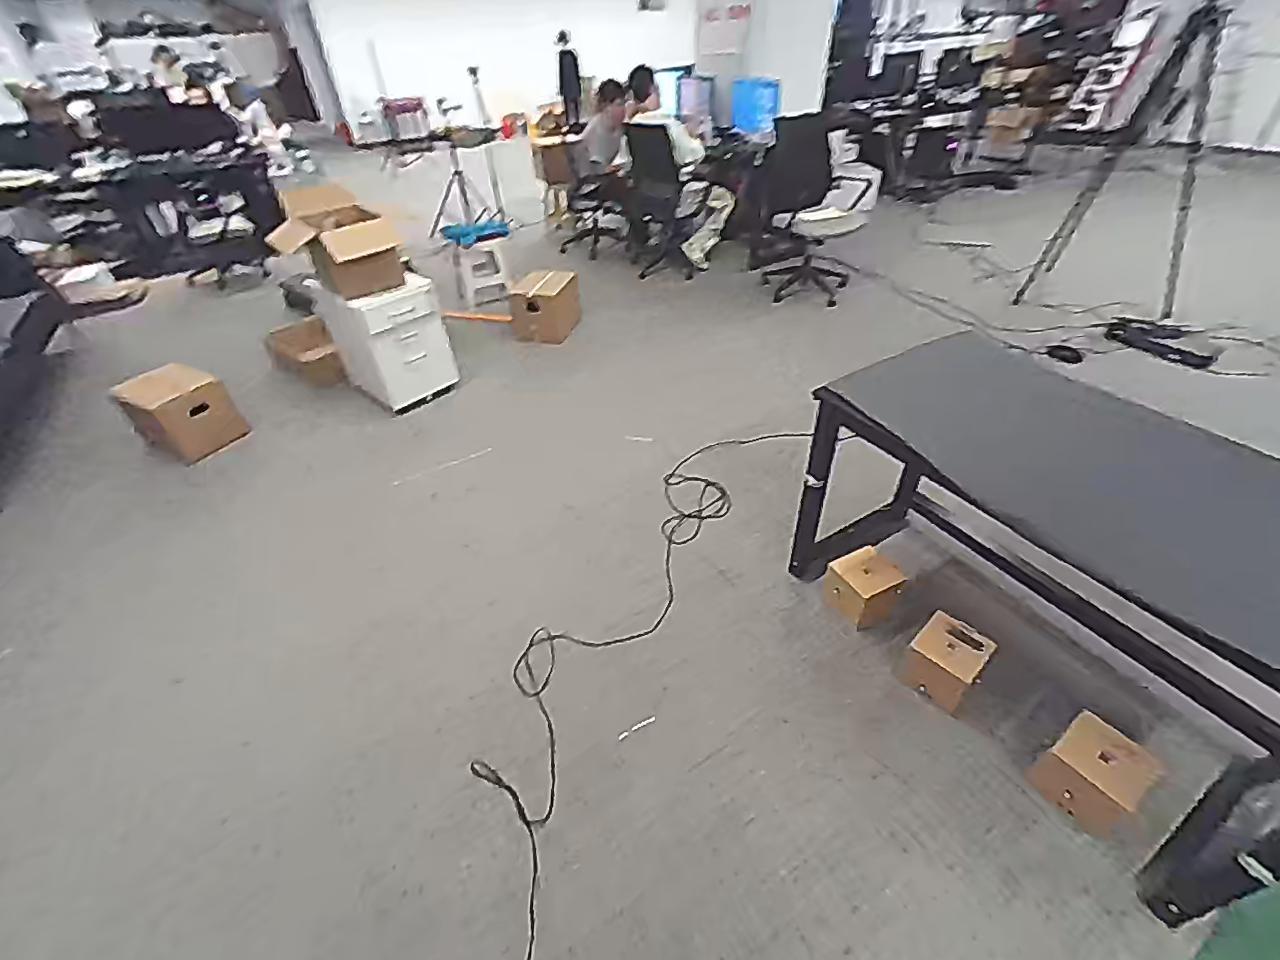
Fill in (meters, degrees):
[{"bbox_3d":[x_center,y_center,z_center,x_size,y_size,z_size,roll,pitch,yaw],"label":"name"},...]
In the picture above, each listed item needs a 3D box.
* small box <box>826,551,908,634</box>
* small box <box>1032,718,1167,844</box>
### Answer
[{"bbox_3d":[0.725,0.368,1.750,0.179,0.176,0.168,-18,41,-18],"label":"small box"},{"bbox_3d":[1.079,0.717,1.287,0.179,0.176,0.168,-25,44,-25],"label":"small box"}]
